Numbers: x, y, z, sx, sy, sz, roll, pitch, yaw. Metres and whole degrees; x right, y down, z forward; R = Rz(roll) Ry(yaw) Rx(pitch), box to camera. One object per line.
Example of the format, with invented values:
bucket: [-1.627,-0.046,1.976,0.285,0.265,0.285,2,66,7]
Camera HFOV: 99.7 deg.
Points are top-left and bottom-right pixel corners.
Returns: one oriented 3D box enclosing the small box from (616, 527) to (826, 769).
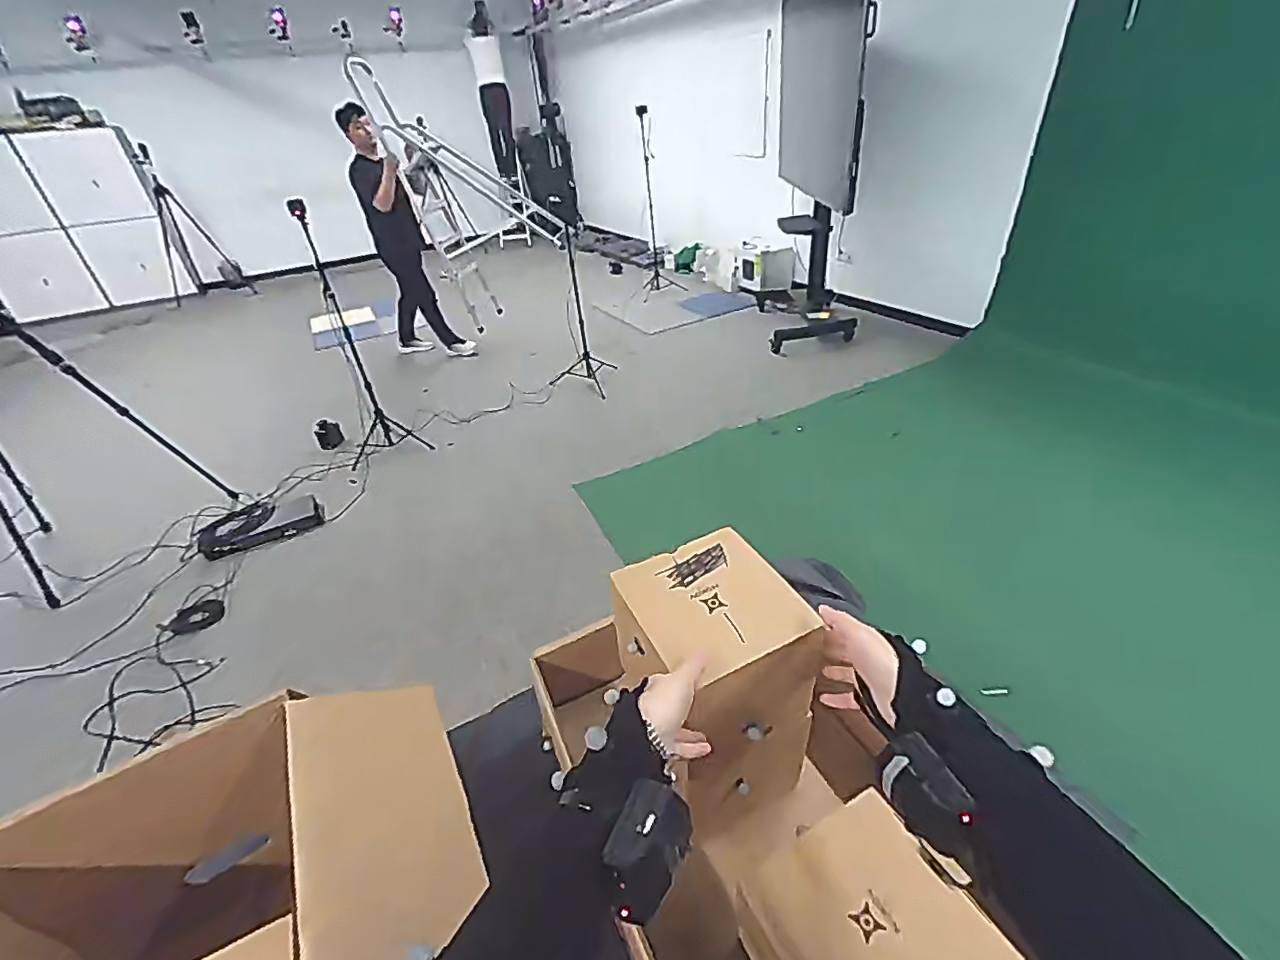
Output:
small box: [0.083,0.190,0.629,0.168,0.176,0.179,-19,39,-18]
